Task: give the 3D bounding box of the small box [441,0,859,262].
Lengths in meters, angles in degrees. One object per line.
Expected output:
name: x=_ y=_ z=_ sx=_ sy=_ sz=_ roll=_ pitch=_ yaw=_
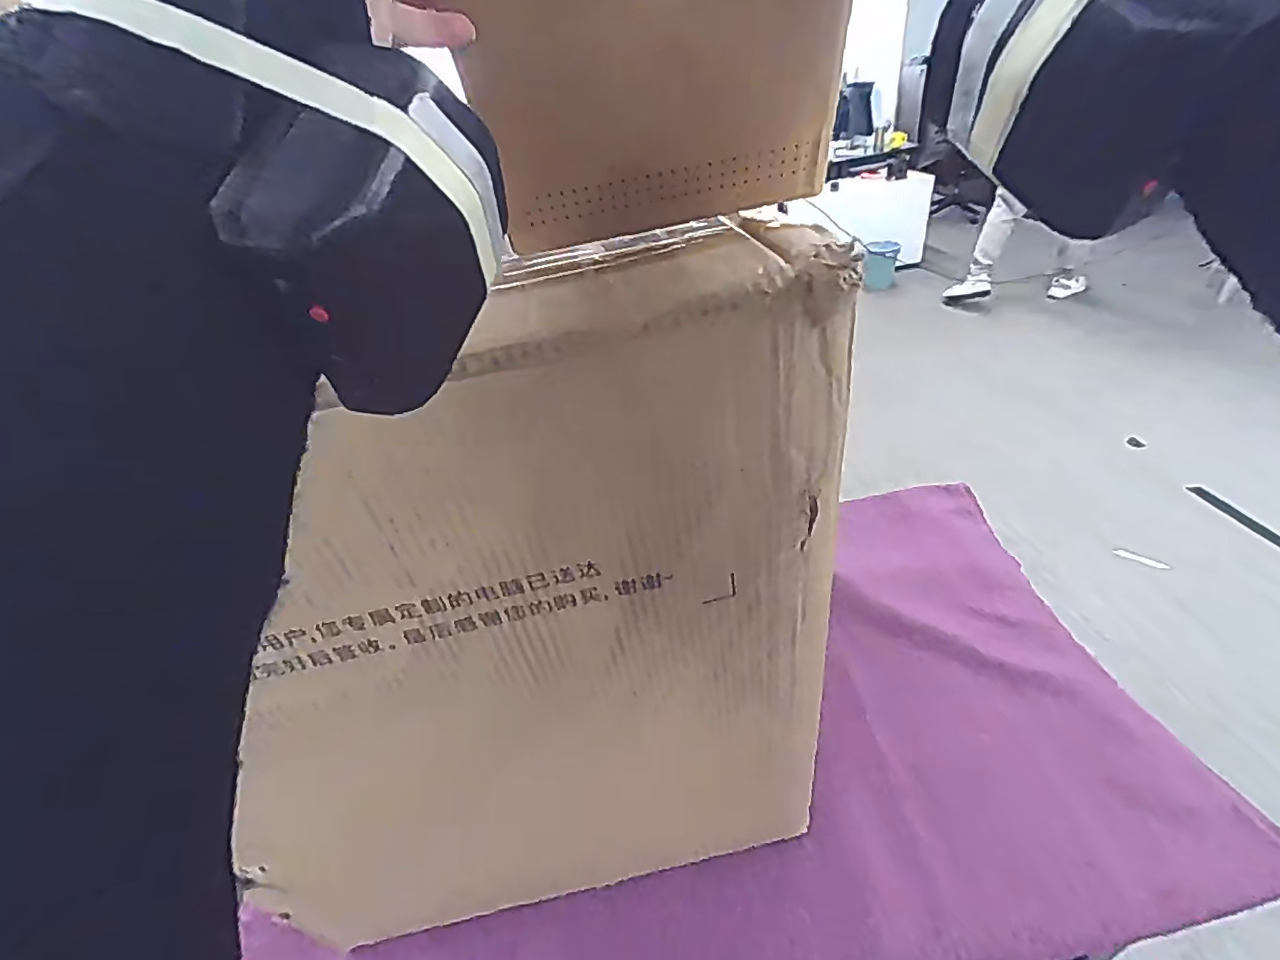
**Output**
small box: x=0.001 y=-0.243 z=0.281 sx=0.179 sy=0.176 sz=0.168 roll=-11 pitch=55 yaw=1
